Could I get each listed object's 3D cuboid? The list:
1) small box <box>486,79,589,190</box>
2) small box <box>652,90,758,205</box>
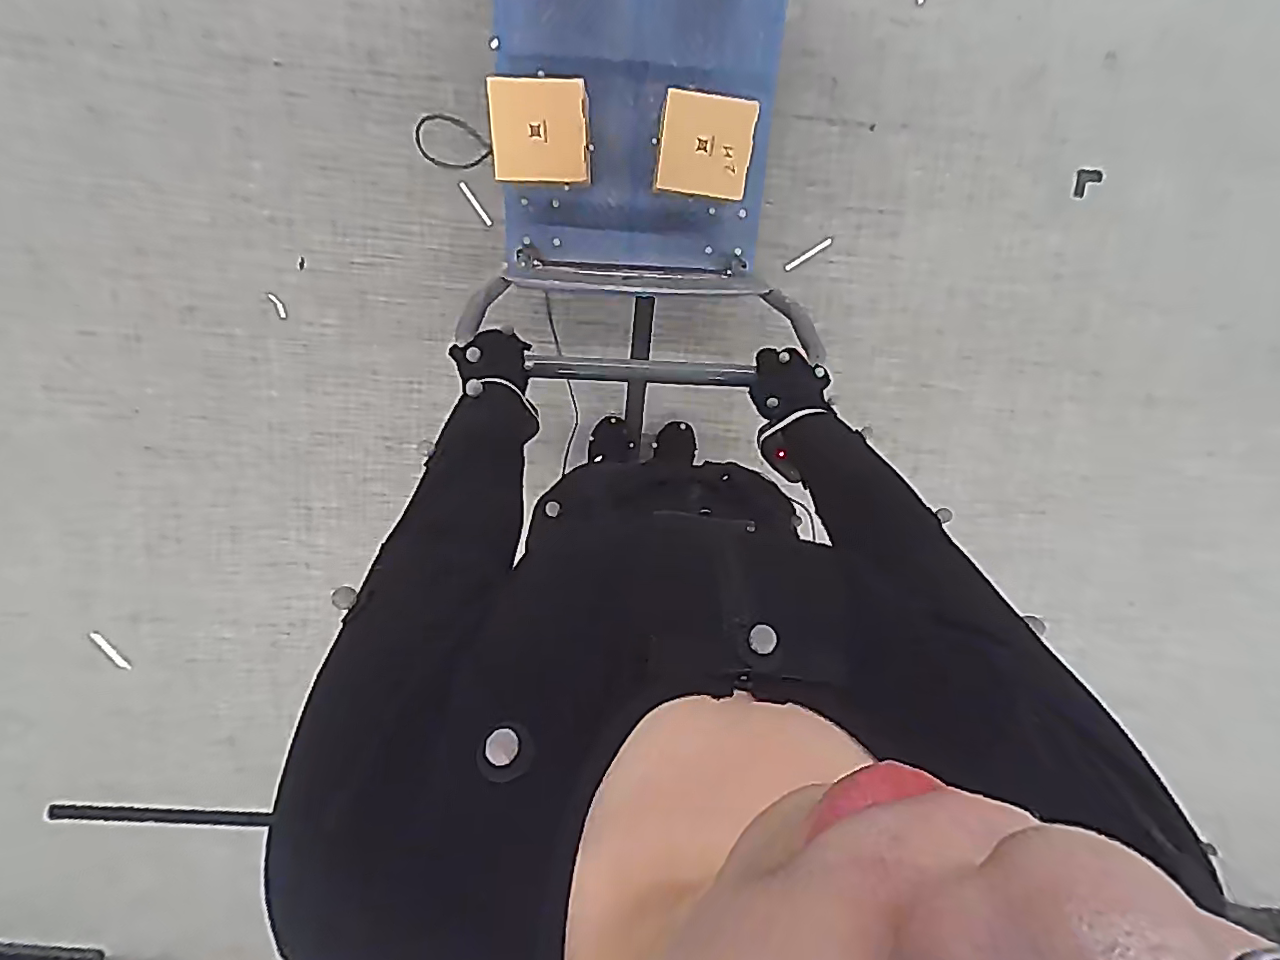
[{"bbox_3d":[-0.195,-0.678,1.078,0.179,0.176,0.168,-2,115,-3],"label":"small box"},{"bbox_3d":[0.122,-0.662,1.097,0.179,0.176,0.168,6,115,-5],"label":"small box"}]
